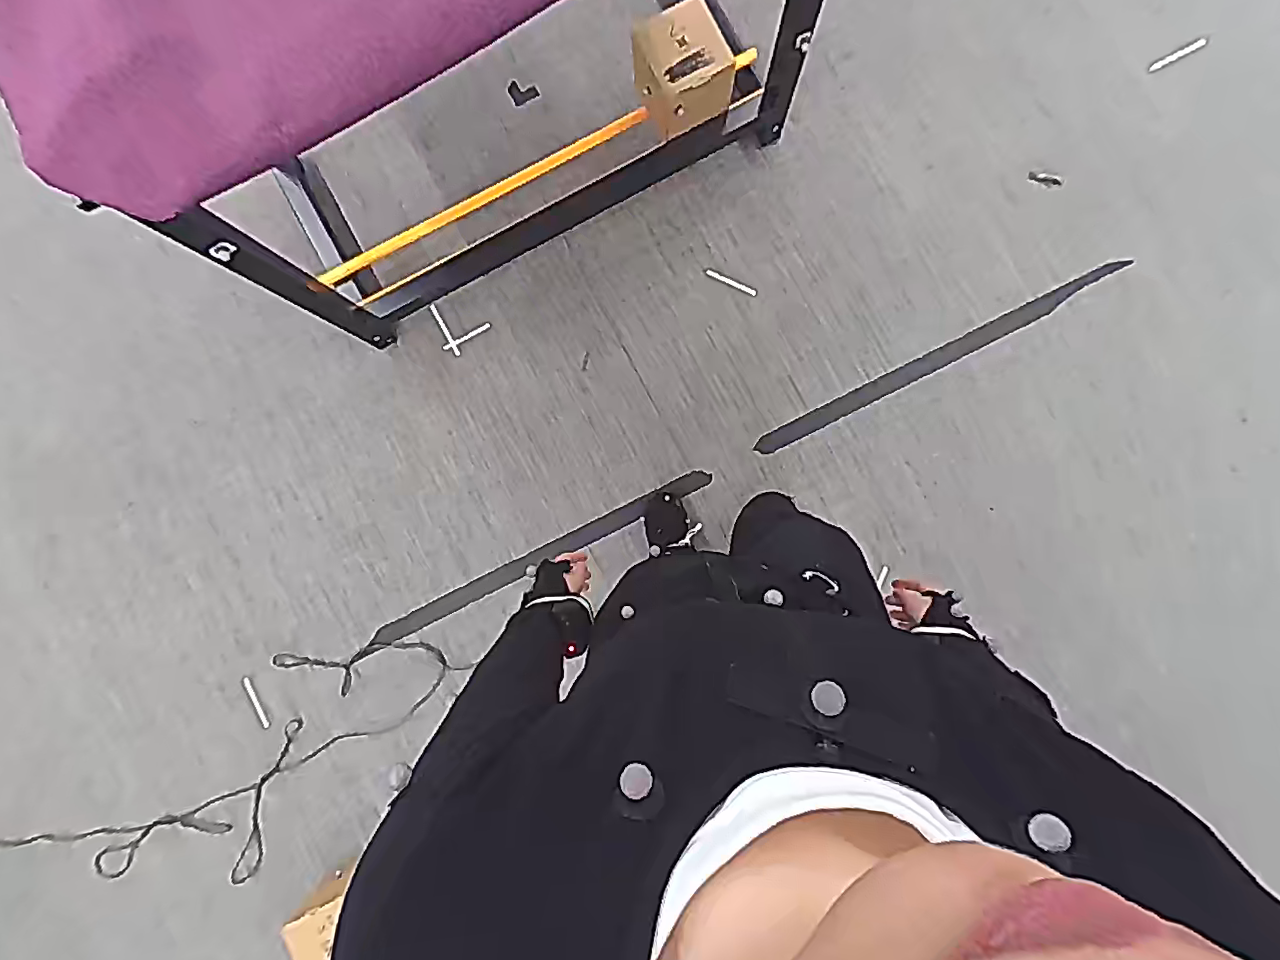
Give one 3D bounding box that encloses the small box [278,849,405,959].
[{"bbox_3d":[-0.693,1.034,1.278,0.168,0.176,0.179,-27,88,0],"label":"small box"}]
